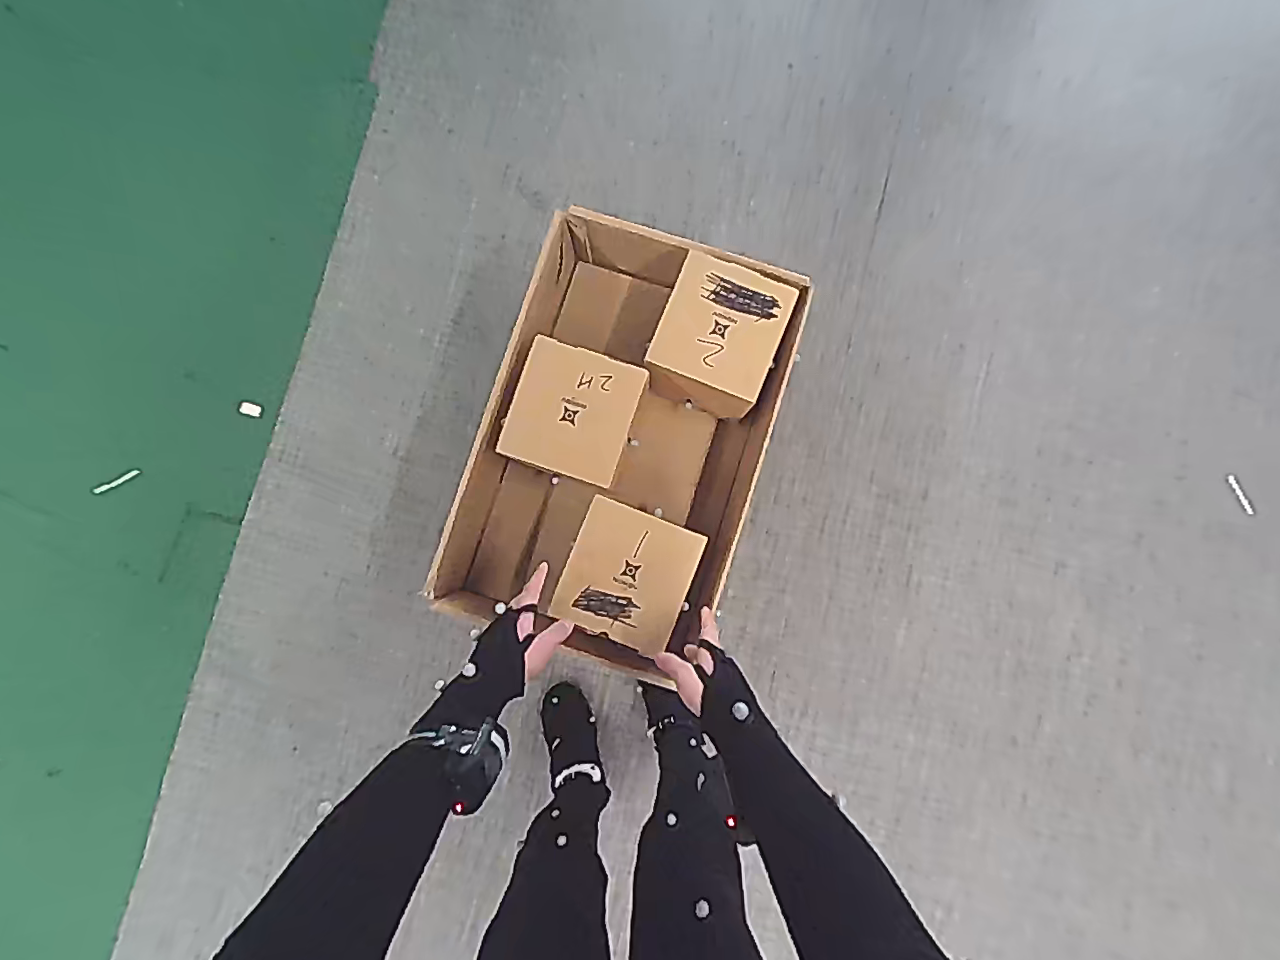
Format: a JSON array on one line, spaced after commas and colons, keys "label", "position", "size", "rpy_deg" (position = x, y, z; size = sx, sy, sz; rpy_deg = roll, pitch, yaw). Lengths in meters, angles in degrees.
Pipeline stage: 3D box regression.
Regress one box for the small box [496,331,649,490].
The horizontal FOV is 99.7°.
[{"label": "small box", "position": [-0.089, -0.090, 0.806], "size": [0.168, 0.176, 0.179], "rpy_deg": [19, 87, 1]}]
